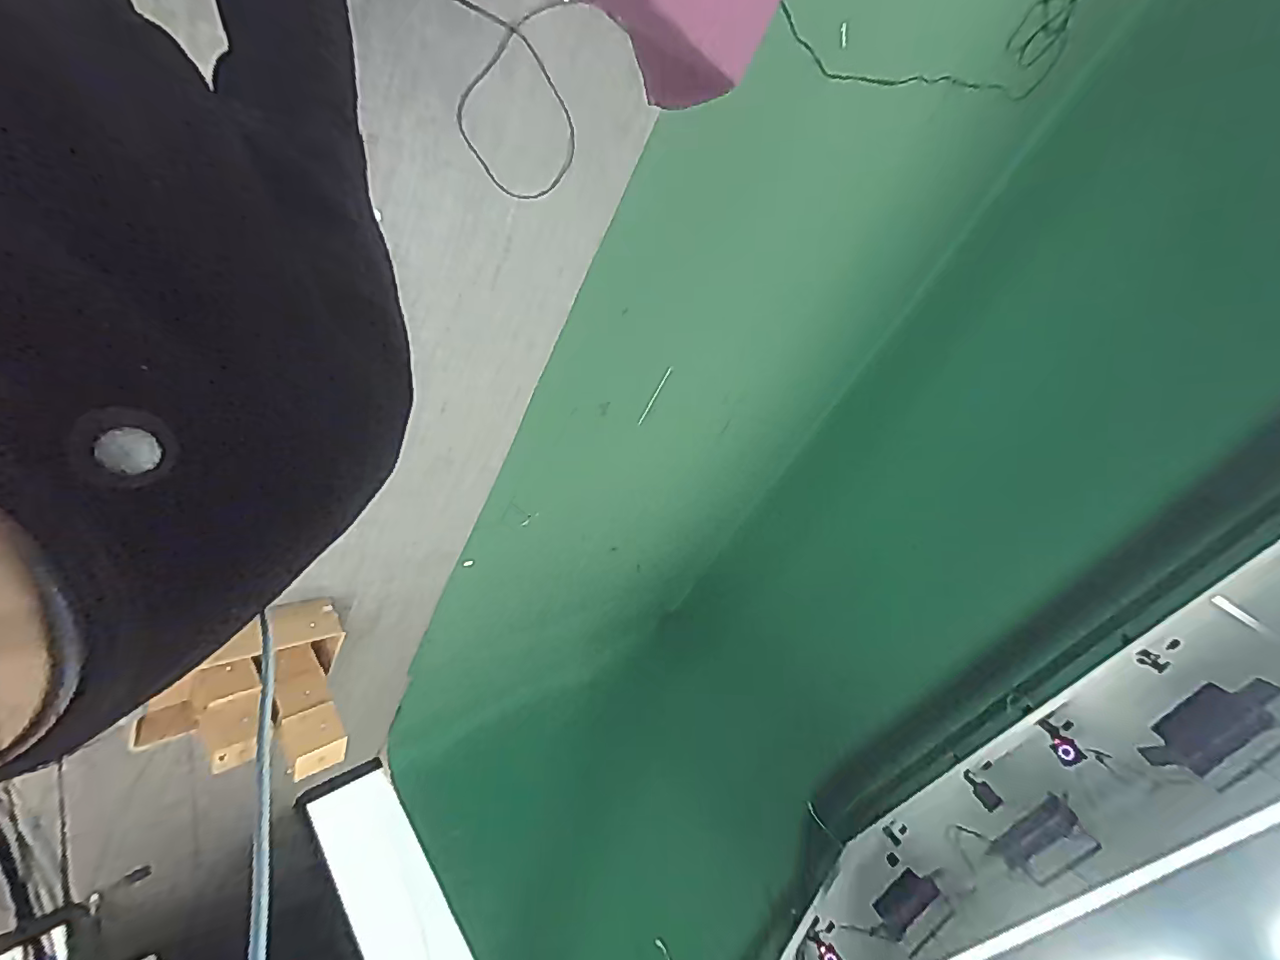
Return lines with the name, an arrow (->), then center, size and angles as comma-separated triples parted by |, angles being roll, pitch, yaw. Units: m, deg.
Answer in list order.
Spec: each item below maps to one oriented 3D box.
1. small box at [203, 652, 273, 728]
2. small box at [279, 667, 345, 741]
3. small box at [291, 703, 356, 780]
small box -> -1.508, 0.779, 2.023 | 0.168, 0.176, 0.179 | -7, 135, -52
small box -> -1.275, 0.863, 2.094 | 0.179, 0.176, 0.168 | -9, 136, -48
small box -> -1.177, 0.958, 2.004 | 0.168, 0.176, 0.179 | -12, 138, -44
